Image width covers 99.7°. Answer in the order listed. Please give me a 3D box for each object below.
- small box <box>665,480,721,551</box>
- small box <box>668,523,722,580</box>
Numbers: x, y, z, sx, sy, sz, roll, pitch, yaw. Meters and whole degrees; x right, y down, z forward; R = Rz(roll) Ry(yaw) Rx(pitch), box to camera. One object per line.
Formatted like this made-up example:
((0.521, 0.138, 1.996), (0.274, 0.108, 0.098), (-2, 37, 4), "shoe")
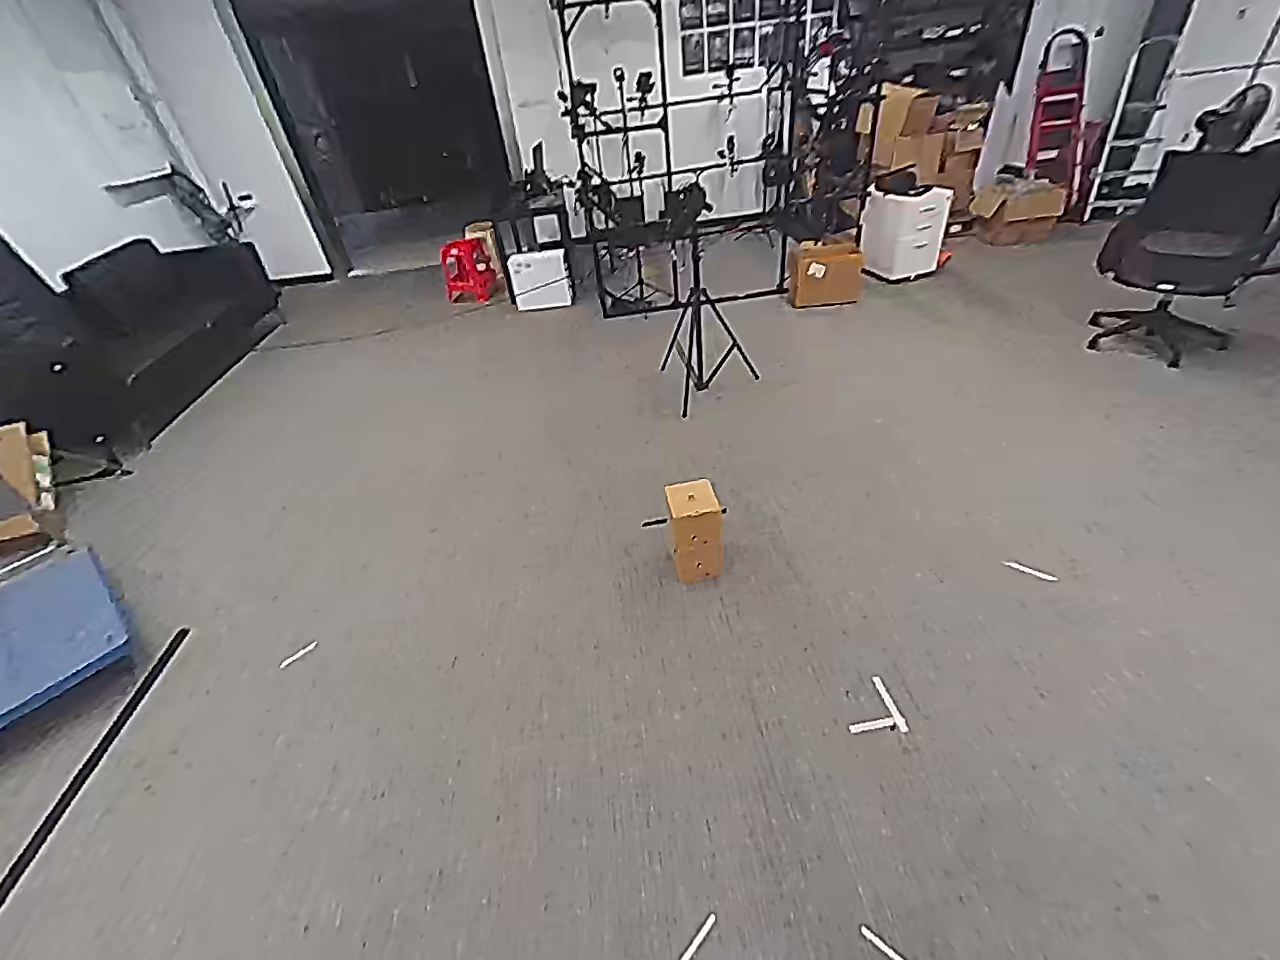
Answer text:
((0.189, 0.127, 1.933), (0.168, 0.176, 0.179), (-11, 38, -3), "small box")
((0.207, 0.257, 2.031), (0.168, 0.176, 0.179), (-11, 37, -5), "small box")
